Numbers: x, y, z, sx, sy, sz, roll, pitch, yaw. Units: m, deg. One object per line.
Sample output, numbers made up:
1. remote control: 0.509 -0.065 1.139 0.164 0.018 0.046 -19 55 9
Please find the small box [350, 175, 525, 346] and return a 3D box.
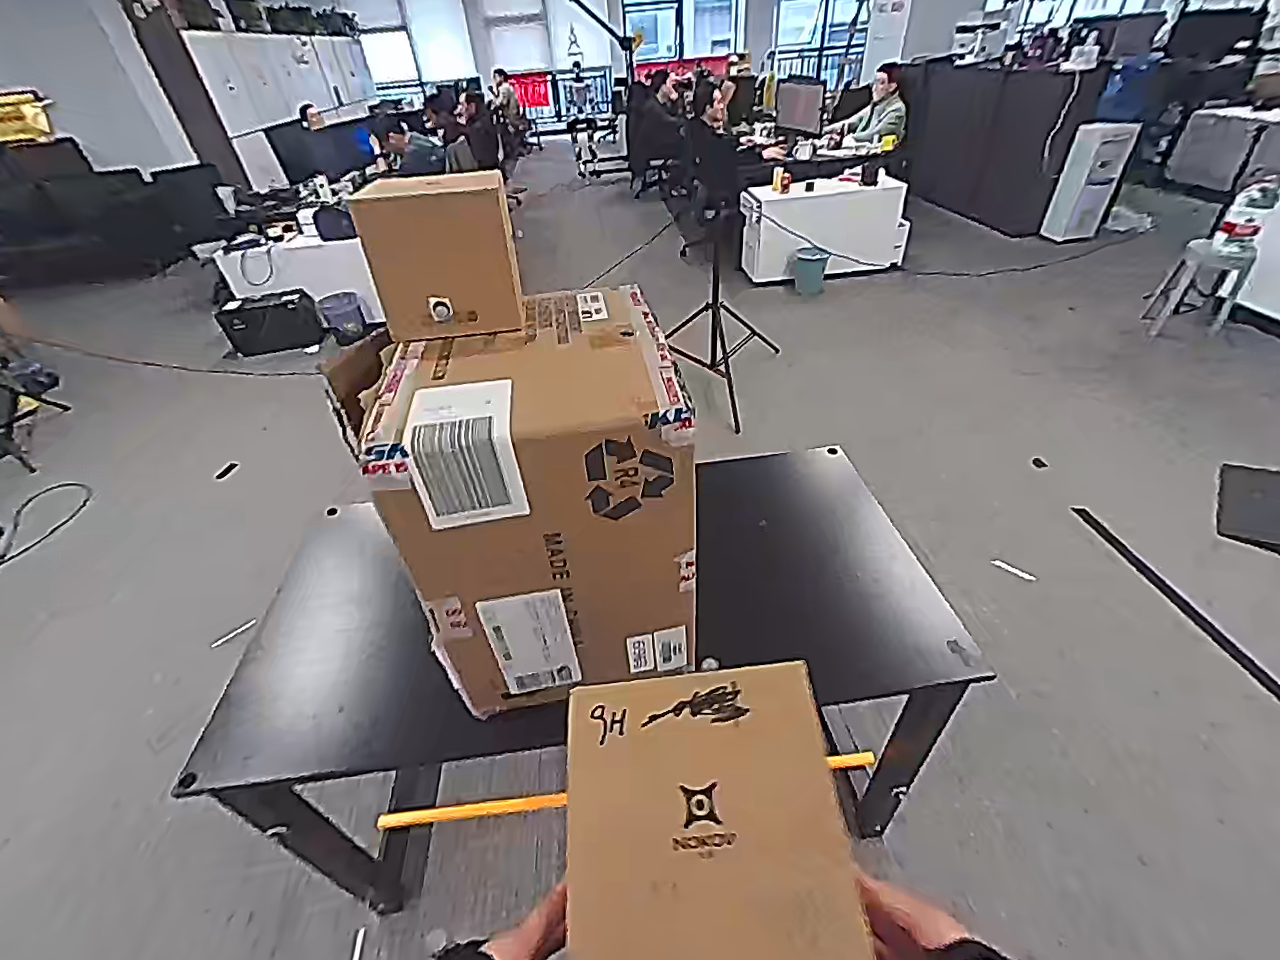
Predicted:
1. small box: -0.250 -0.292 0.714 0.168 0.176 0.179 -10 37 -7
